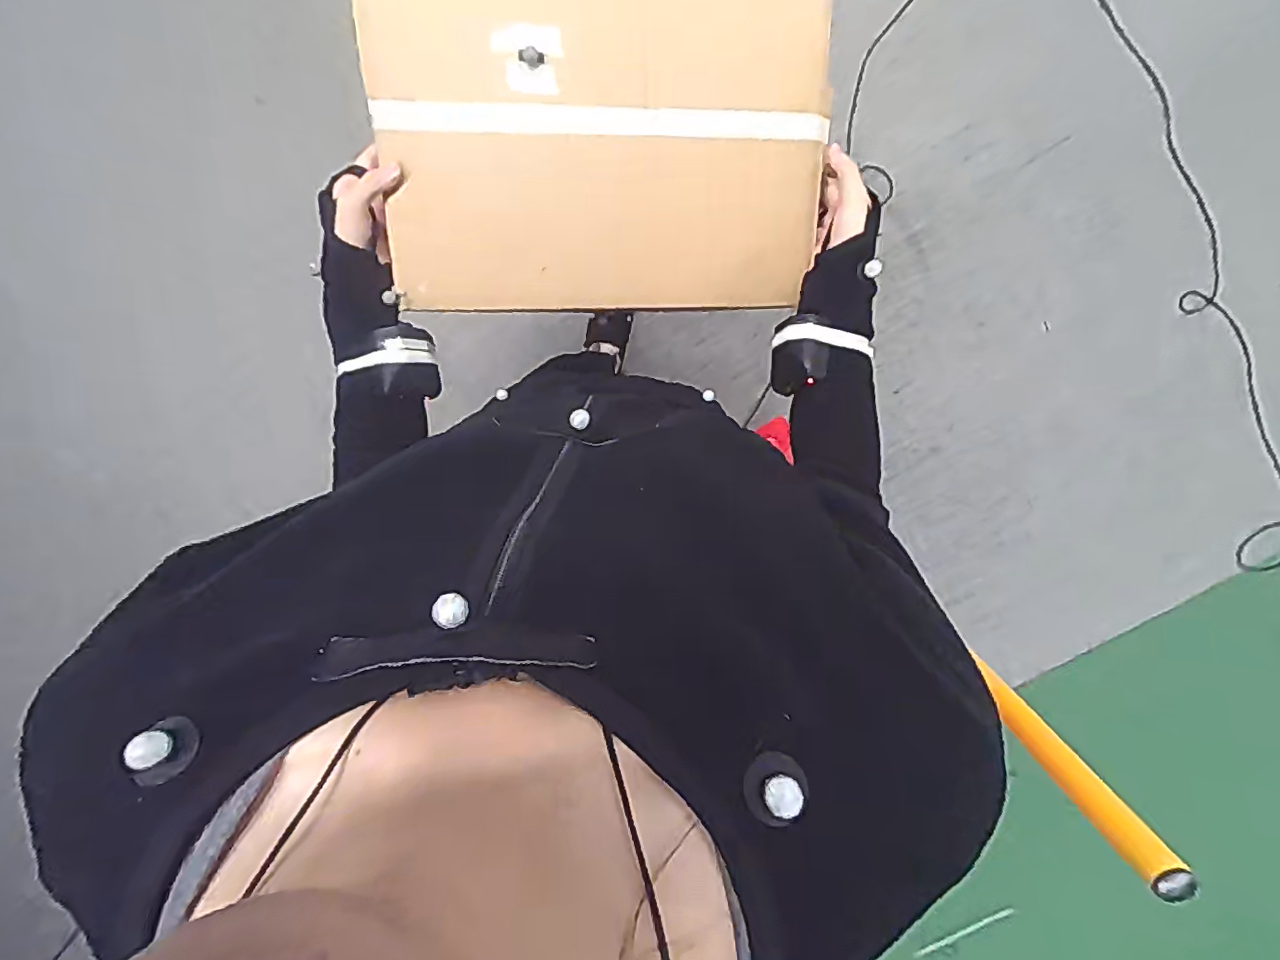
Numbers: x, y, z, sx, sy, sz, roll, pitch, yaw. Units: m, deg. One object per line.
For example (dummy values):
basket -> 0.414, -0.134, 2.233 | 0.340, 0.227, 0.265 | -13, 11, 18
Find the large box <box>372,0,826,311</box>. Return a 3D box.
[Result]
large box -> -0.044, -0.366, 0.641 | 0.408, 0.320, 0.320 | -2, 107, -7
